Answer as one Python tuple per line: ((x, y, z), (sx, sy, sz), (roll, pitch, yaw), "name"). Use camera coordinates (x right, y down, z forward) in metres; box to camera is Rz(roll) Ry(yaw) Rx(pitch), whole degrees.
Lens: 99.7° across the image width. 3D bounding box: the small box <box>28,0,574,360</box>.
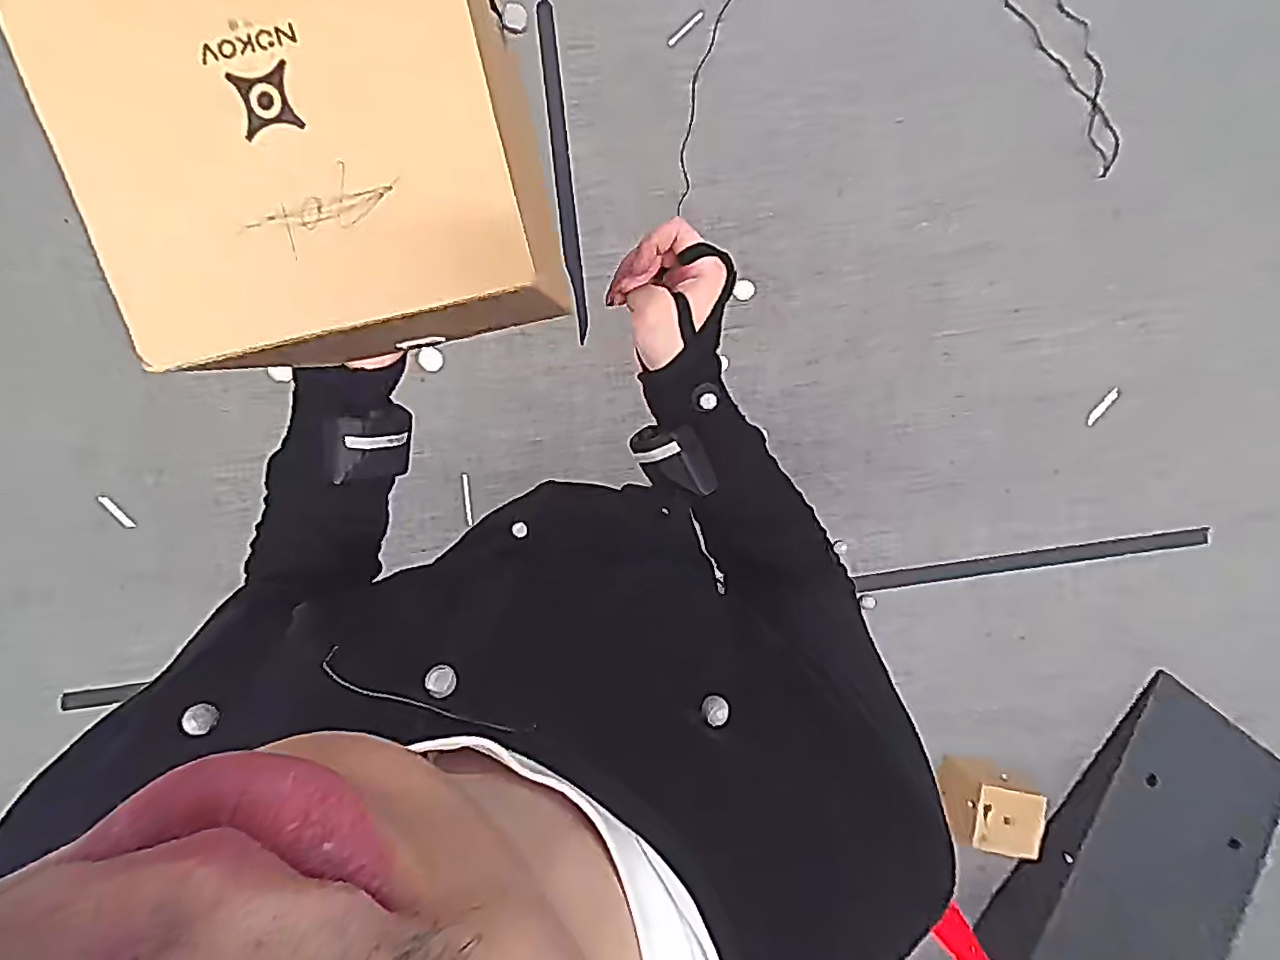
((-0.139, -0.166, 0.289), (0.168, 0.176, 0.179), (-12, 104, 2), "small box")
